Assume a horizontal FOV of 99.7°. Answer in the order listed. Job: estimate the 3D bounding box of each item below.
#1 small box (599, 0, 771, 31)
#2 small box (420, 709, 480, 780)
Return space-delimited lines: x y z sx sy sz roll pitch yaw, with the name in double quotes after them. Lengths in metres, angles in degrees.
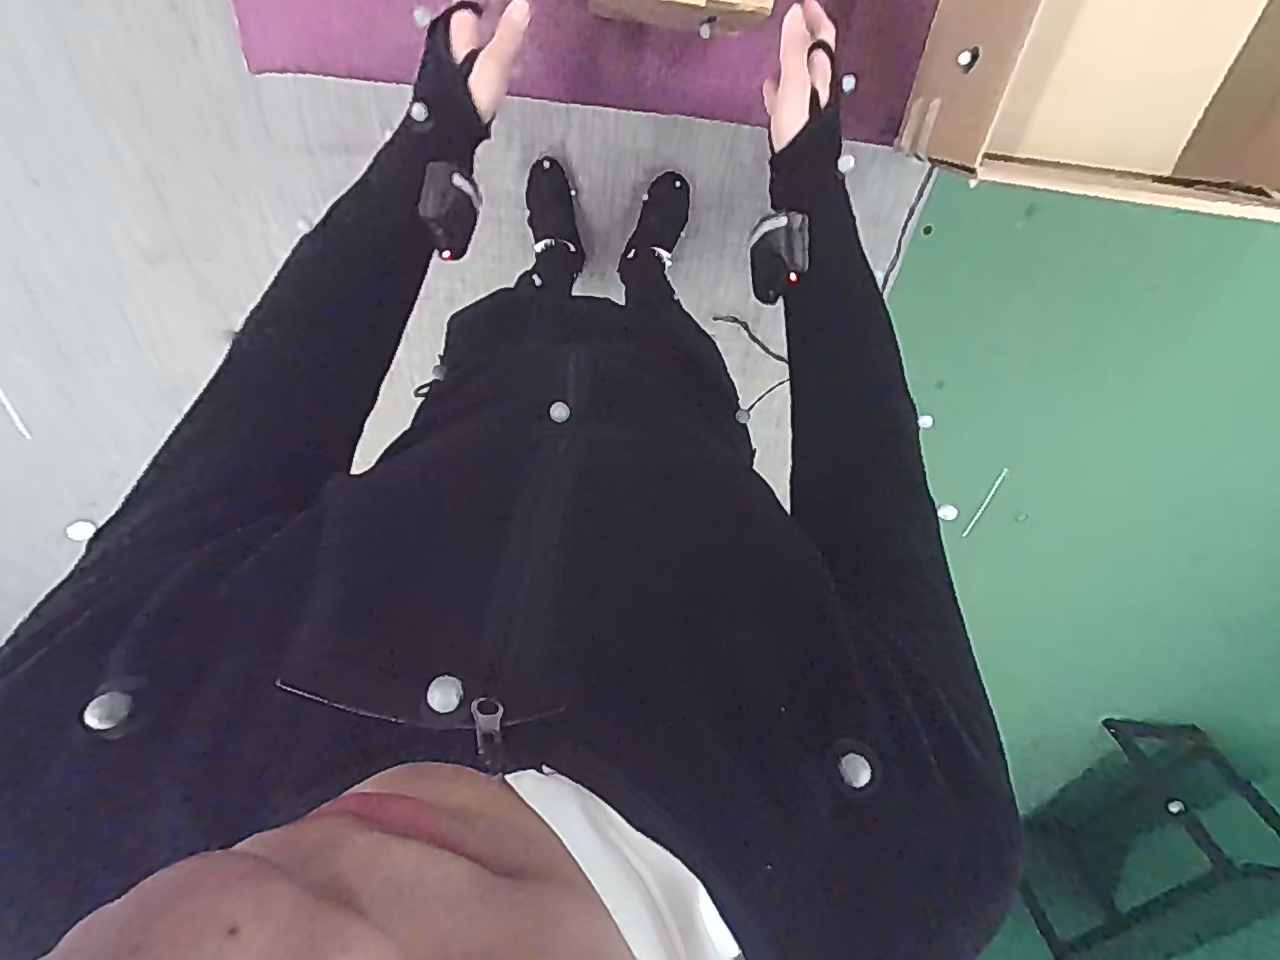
0.041 -0.529 0.481 0.168 0.176 0.179 5 123 -7 "small box"
-0.703 0.984 2.016 0.168 0.176 0.179 14 121 -12 "small box"
